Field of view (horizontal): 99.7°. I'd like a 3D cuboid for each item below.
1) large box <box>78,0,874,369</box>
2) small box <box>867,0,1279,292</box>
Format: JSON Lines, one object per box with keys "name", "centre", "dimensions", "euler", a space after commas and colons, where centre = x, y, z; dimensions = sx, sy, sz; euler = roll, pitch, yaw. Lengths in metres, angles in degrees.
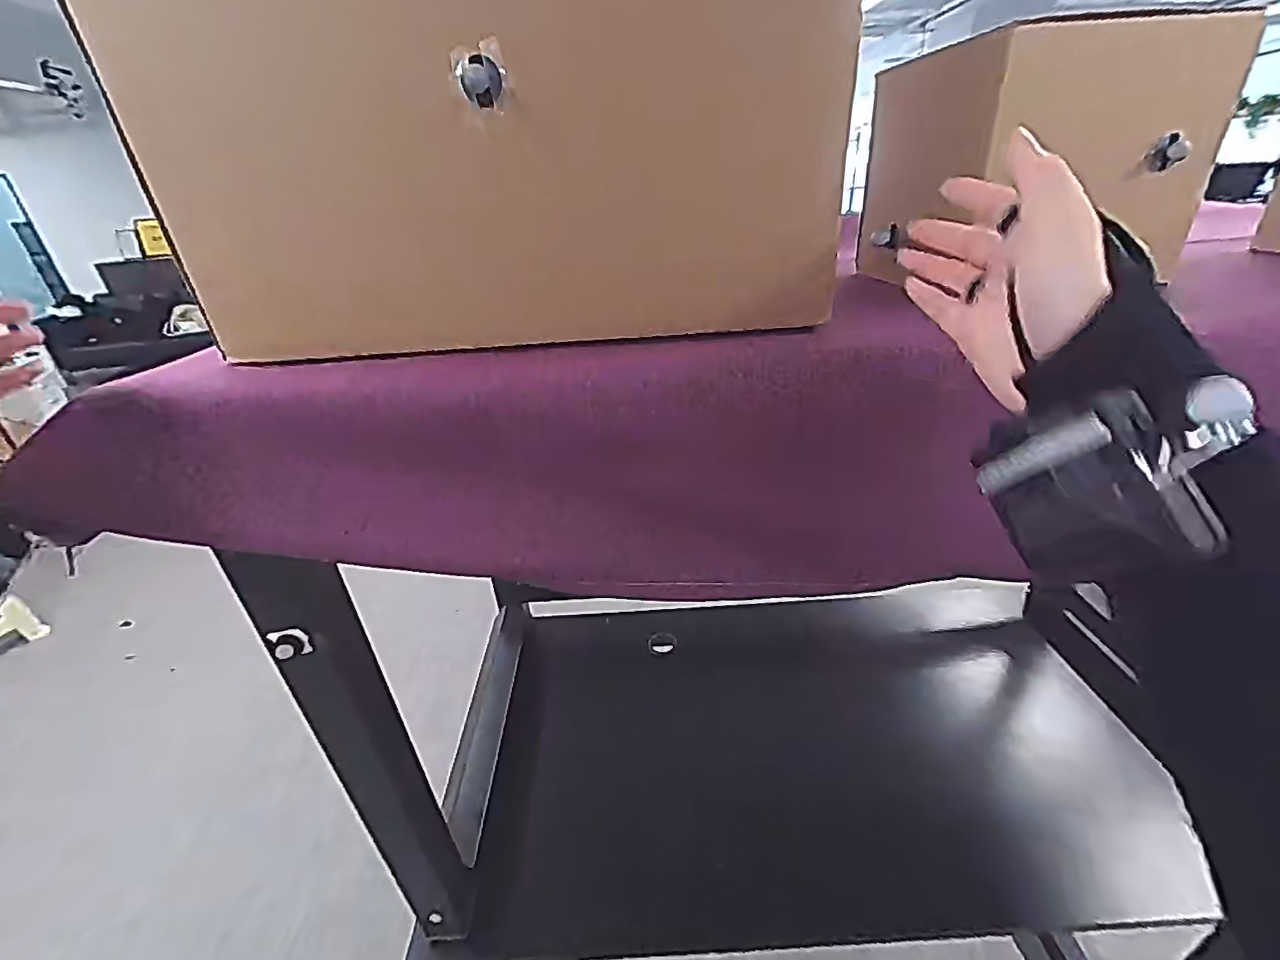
{"name": "large box", "centre": [-0.081, -0.292, 0.413], "dimensions": [0.408, 0.320, 0.320], "euler": [-5, 28, 1]}
{"name": "small box", "centre": [0.308, -0.255, 0.433], "dimensions": [0.179, 0.176, 0.168], "euler": [-7, 28, -4]}
